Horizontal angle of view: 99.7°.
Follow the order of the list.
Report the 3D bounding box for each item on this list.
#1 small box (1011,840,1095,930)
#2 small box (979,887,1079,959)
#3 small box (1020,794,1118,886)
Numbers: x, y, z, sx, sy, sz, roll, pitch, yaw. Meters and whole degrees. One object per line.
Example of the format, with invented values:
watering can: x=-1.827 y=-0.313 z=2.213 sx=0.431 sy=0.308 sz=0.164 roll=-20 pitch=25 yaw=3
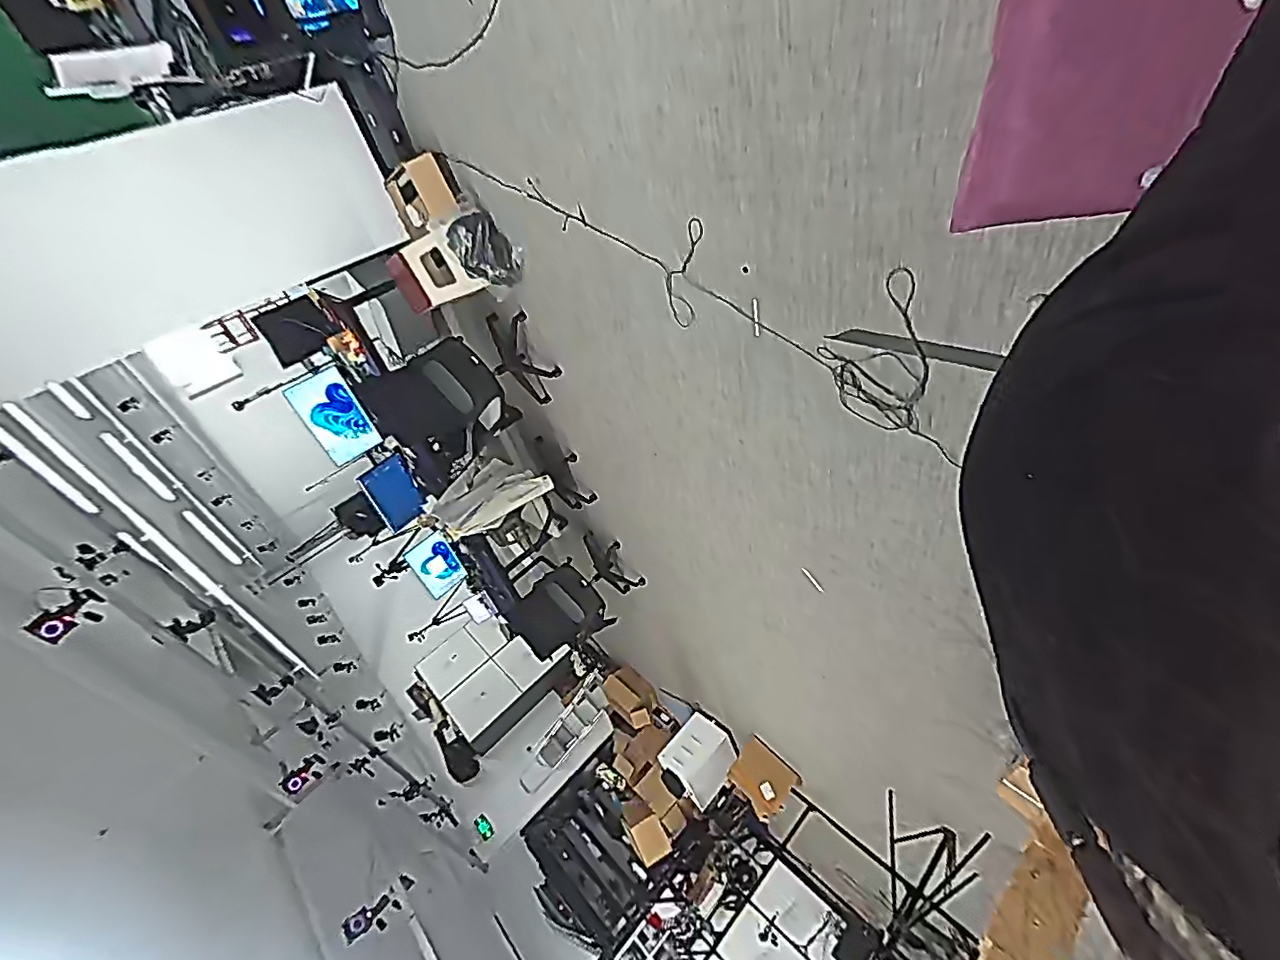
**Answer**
small box: x=1.259 y=1.255 z=1.656 sx=0.168 sy=0.176 sz=0.179 roll=21 pitch=143 yaw=47
small box: x=1.140 y=1.344 z=1.588 sx=0.179 sy=0.176 sz=0.168 roll=27 pitch=146 yaw=42
small box: x=1.365 y=1.149 z=1.720 sx=0.179 sy=0.176 sz=0.168 roll=33 pitch=149 yaw=34
